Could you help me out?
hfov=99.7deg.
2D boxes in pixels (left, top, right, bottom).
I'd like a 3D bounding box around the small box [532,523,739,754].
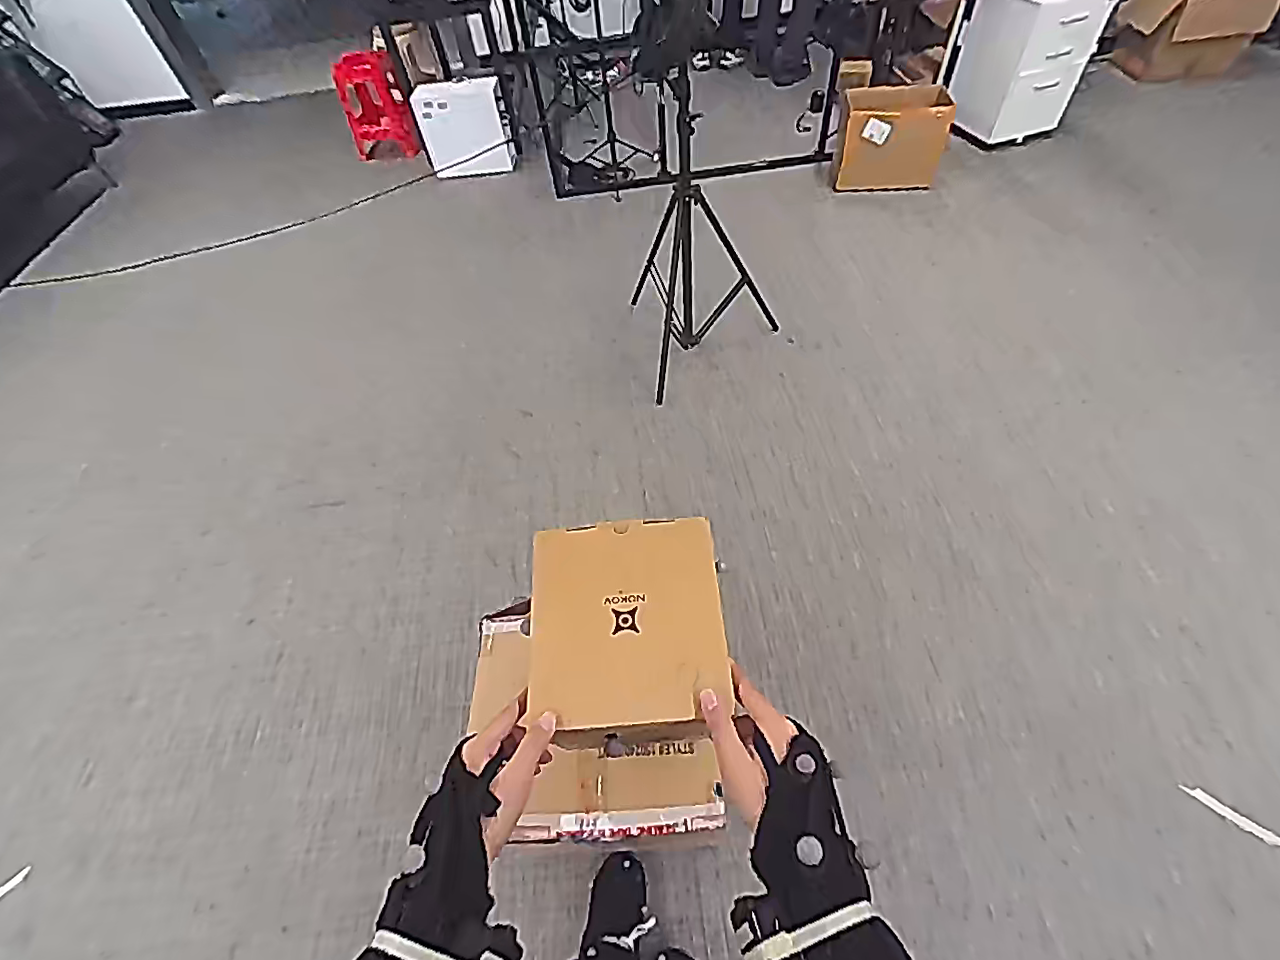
[{"bbox_3d":[-0.003,0.163,0.526,0.168,0.176,0.179,-6,58,1],"label":"small box"}]
